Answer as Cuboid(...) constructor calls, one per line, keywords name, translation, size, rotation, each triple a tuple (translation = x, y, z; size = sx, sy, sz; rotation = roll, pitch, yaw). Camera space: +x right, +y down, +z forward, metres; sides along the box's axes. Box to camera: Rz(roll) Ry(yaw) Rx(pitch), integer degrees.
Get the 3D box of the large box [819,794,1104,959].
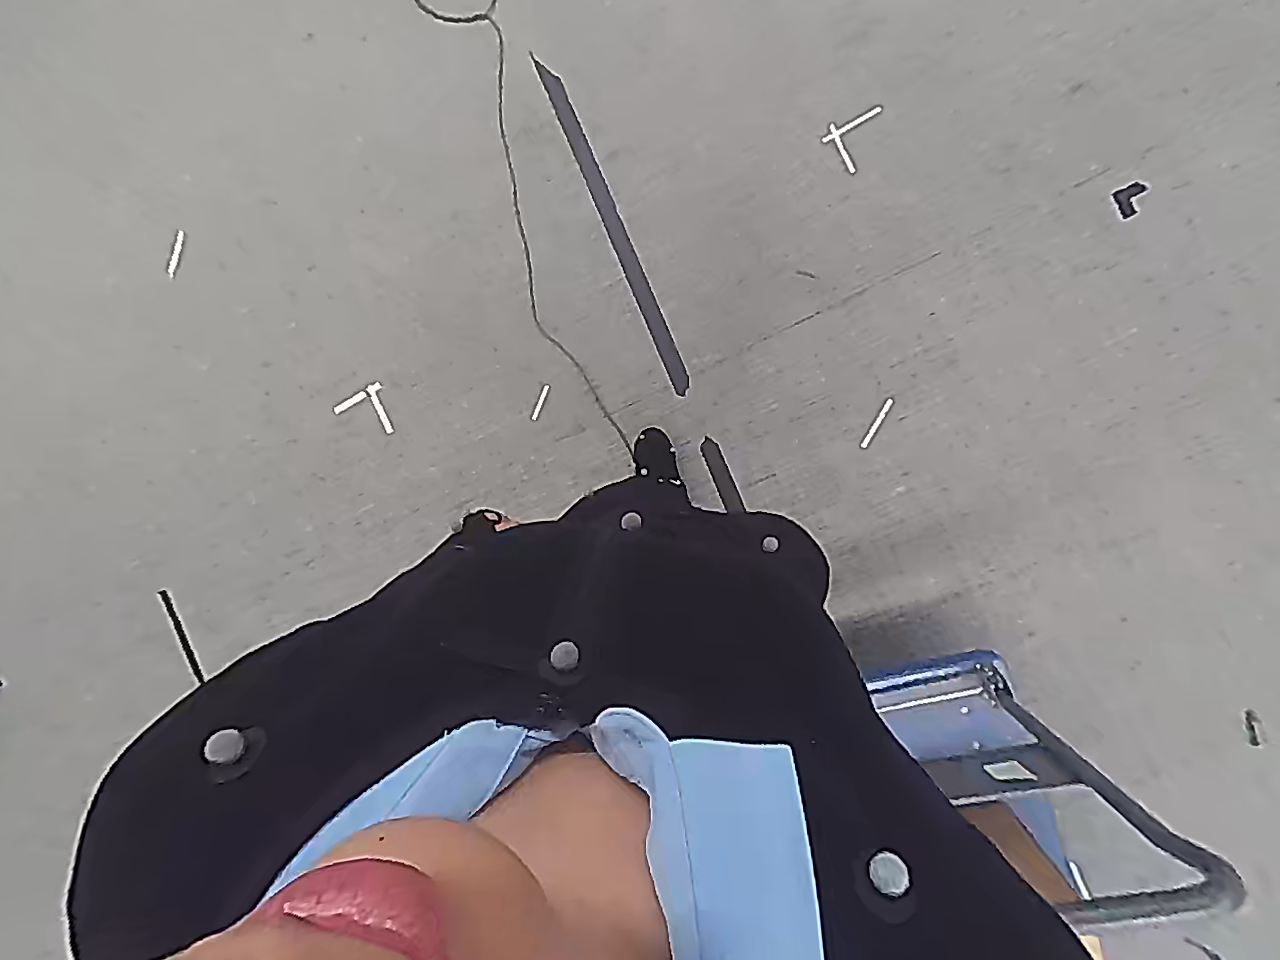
Cuboid(name="large box", translation=(0.619, 0.891, 1.077), size=(0.408, 0.320, 0.320), rotation=(-15, 90, 10))
